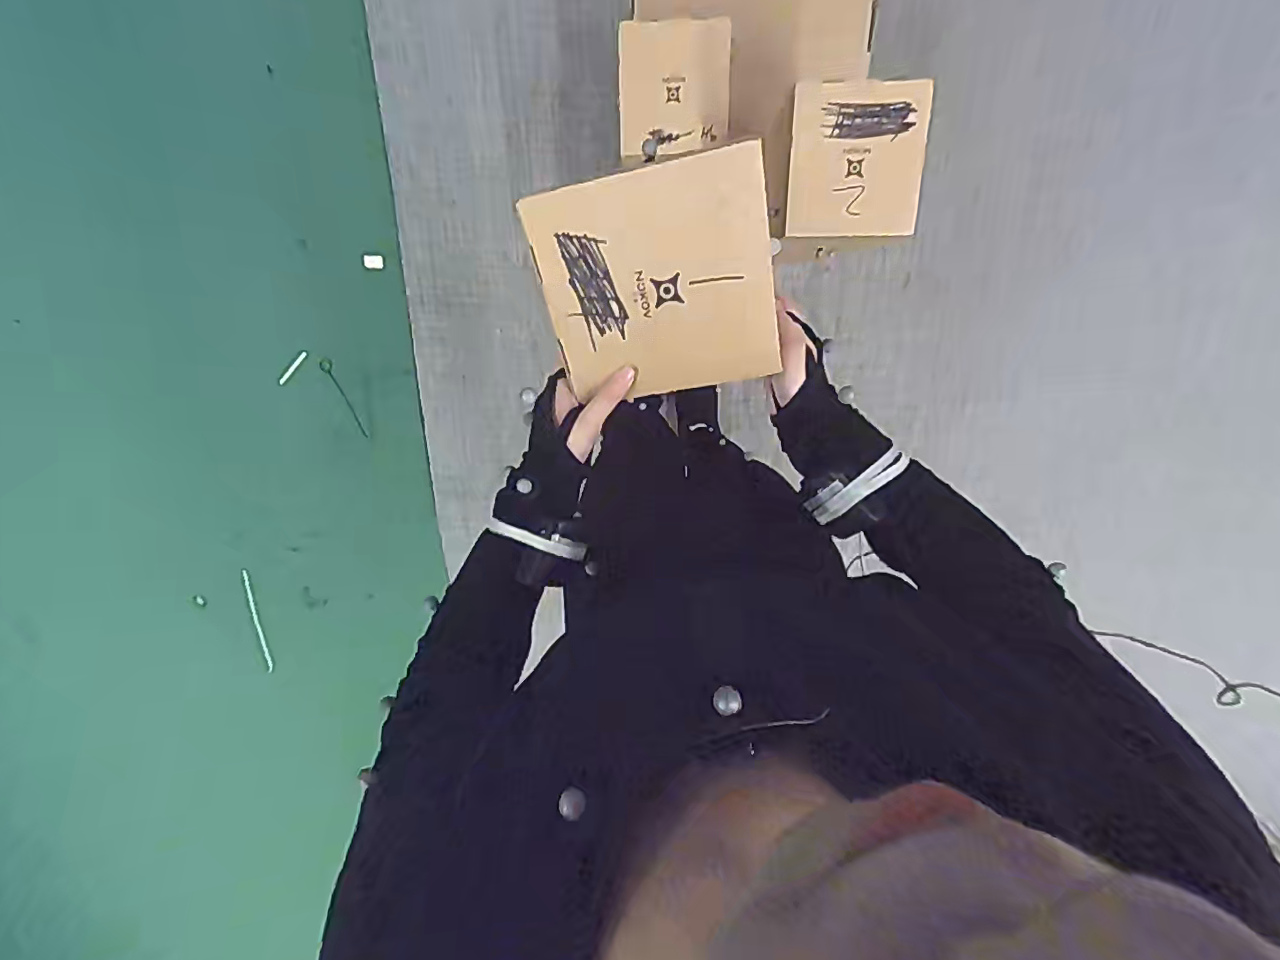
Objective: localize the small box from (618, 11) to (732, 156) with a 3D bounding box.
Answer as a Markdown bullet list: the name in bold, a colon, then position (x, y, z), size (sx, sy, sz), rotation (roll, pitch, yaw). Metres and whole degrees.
- **small box**: position (0.053, -0.607, 0.872), size (0.168, 0.176, 0.179), rotation (1, 106, 4)

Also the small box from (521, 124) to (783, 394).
- **small box**: position (0.021, -0.193, 0.474), size (0.179, 0.176, 0.168), rotation (-8, 120, 10)

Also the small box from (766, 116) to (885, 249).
- **small box**: position (0.279, -0.483, 0.897), size (0.179, 0.176, 0.168), rotation (0, 107, 3)
